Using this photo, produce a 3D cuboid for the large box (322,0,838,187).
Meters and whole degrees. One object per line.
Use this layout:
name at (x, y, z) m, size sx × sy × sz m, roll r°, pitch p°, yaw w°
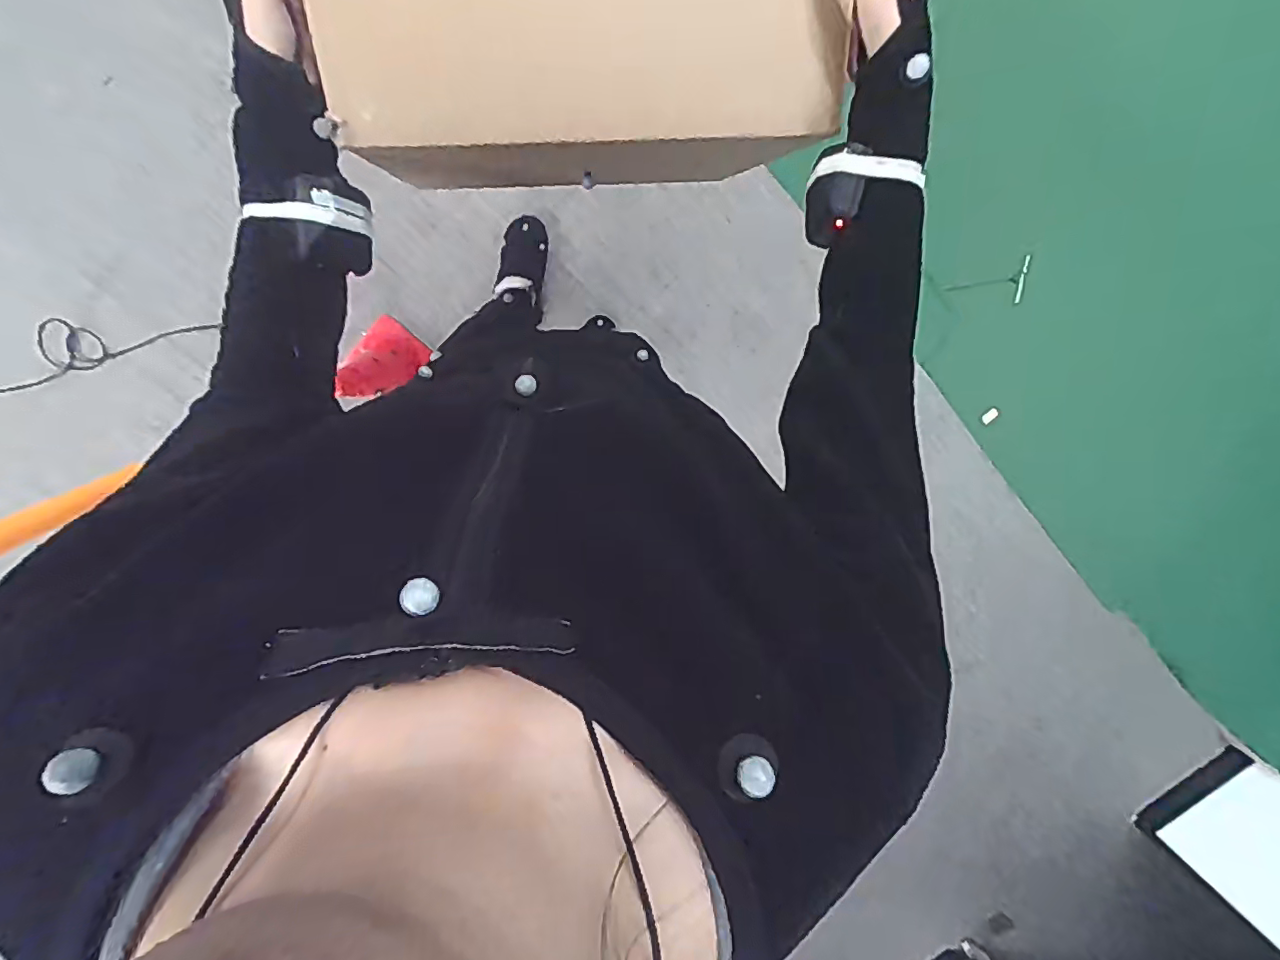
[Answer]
large box at (-0.061, -0.476, 0.524) m, size 0.408 × 0.320 × 0.320 m, roll -7°, pitch 113°, yaw -8°
